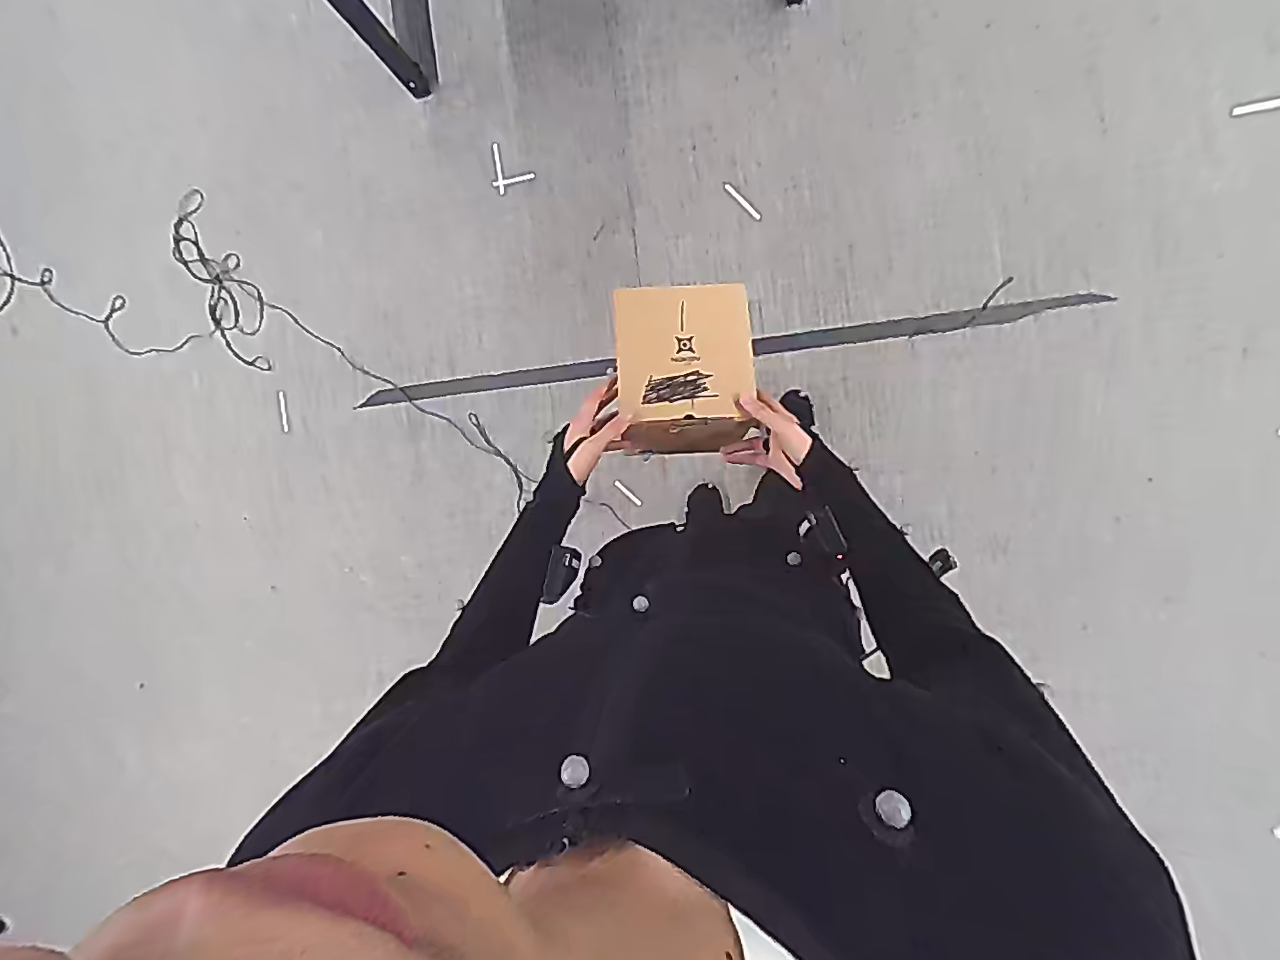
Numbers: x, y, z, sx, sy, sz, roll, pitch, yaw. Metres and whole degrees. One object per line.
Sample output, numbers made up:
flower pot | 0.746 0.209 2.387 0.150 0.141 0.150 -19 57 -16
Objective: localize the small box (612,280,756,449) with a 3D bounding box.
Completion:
small box | 0.051 -0.142 0.724 0.168 0.176 0.179 -3 78 -2
